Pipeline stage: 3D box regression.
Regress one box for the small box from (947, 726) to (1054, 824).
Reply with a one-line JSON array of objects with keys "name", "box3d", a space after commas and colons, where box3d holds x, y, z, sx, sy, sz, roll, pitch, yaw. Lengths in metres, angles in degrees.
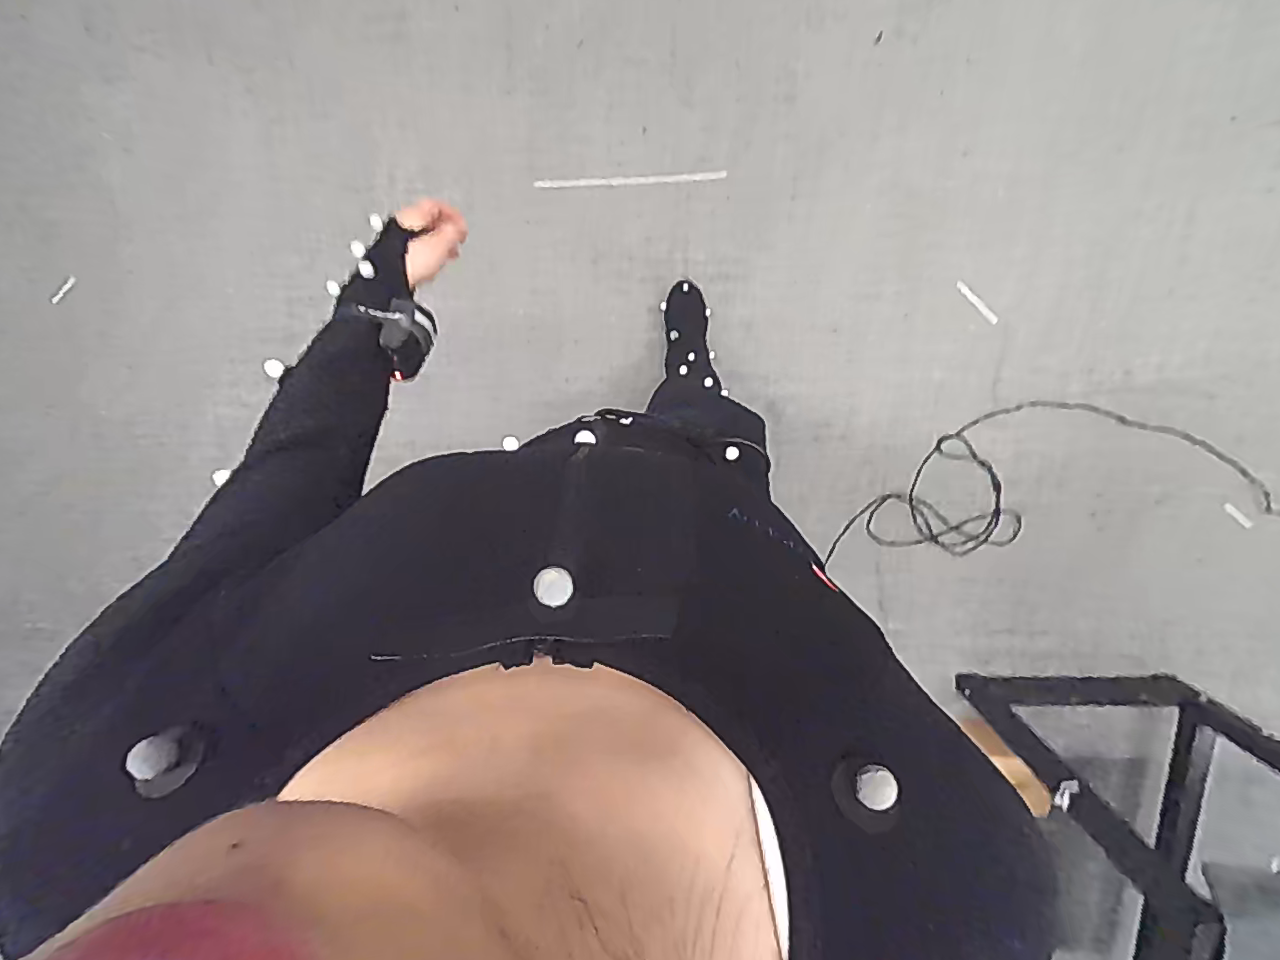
[{"name": "small box", "box3d": [0.974, 0.798, 1.478, 0.179, 0.176, 0.168, 4, 100, 2]}]
